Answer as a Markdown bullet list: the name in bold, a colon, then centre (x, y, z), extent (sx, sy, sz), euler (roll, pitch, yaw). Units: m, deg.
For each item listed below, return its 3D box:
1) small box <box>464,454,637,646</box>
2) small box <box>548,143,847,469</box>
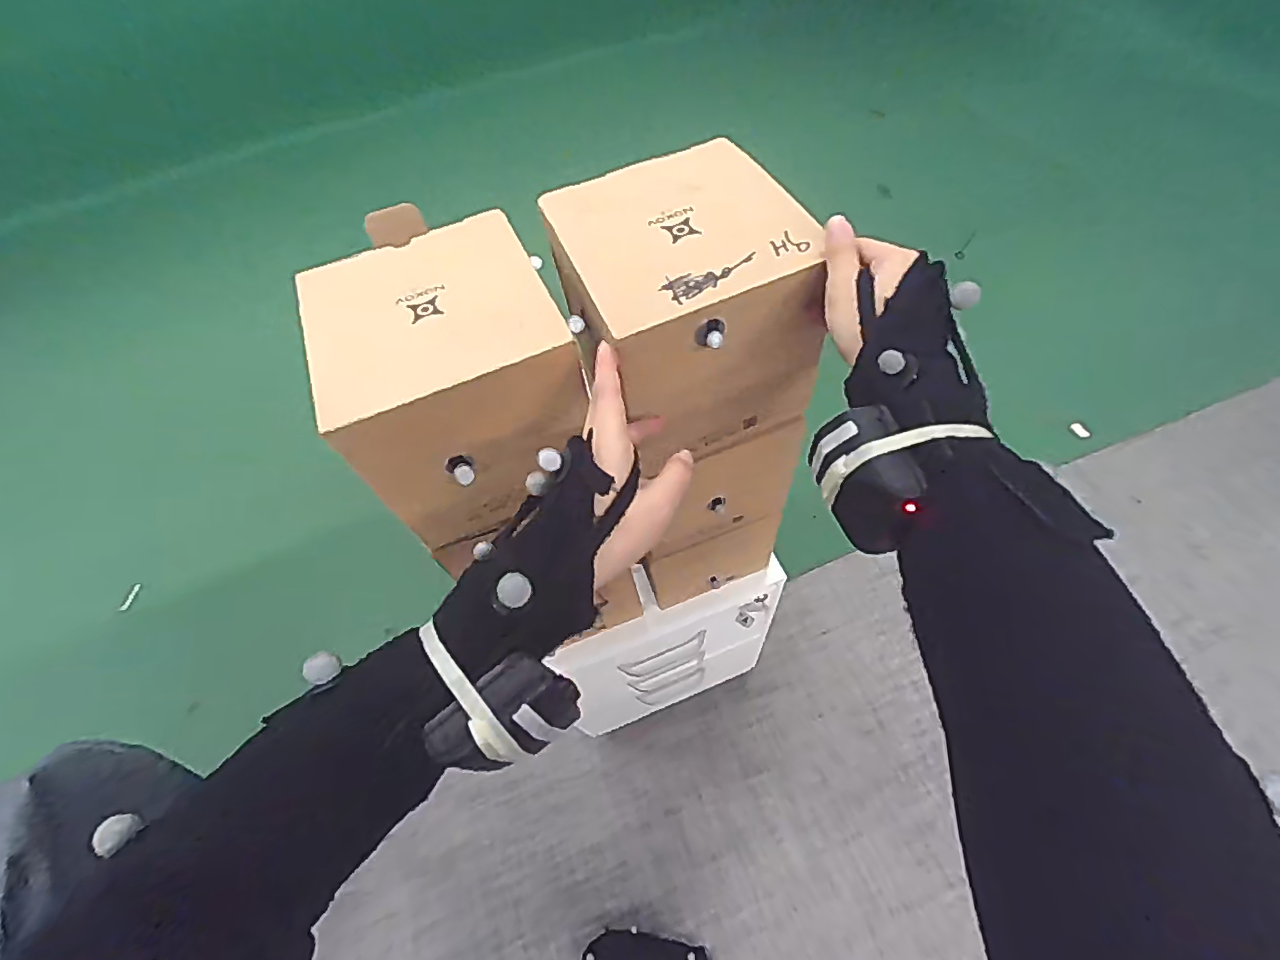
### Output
- **small box**: centre (-0.110, 0.101, 0.712), extent (0.168, 0.176, 0.179), euler (-20, 58, -7)
- **small box**: centre (0.038, -0.140, 0.455), extent (0.168, 0.176, 0.179), euler (-21, 58, -7)
